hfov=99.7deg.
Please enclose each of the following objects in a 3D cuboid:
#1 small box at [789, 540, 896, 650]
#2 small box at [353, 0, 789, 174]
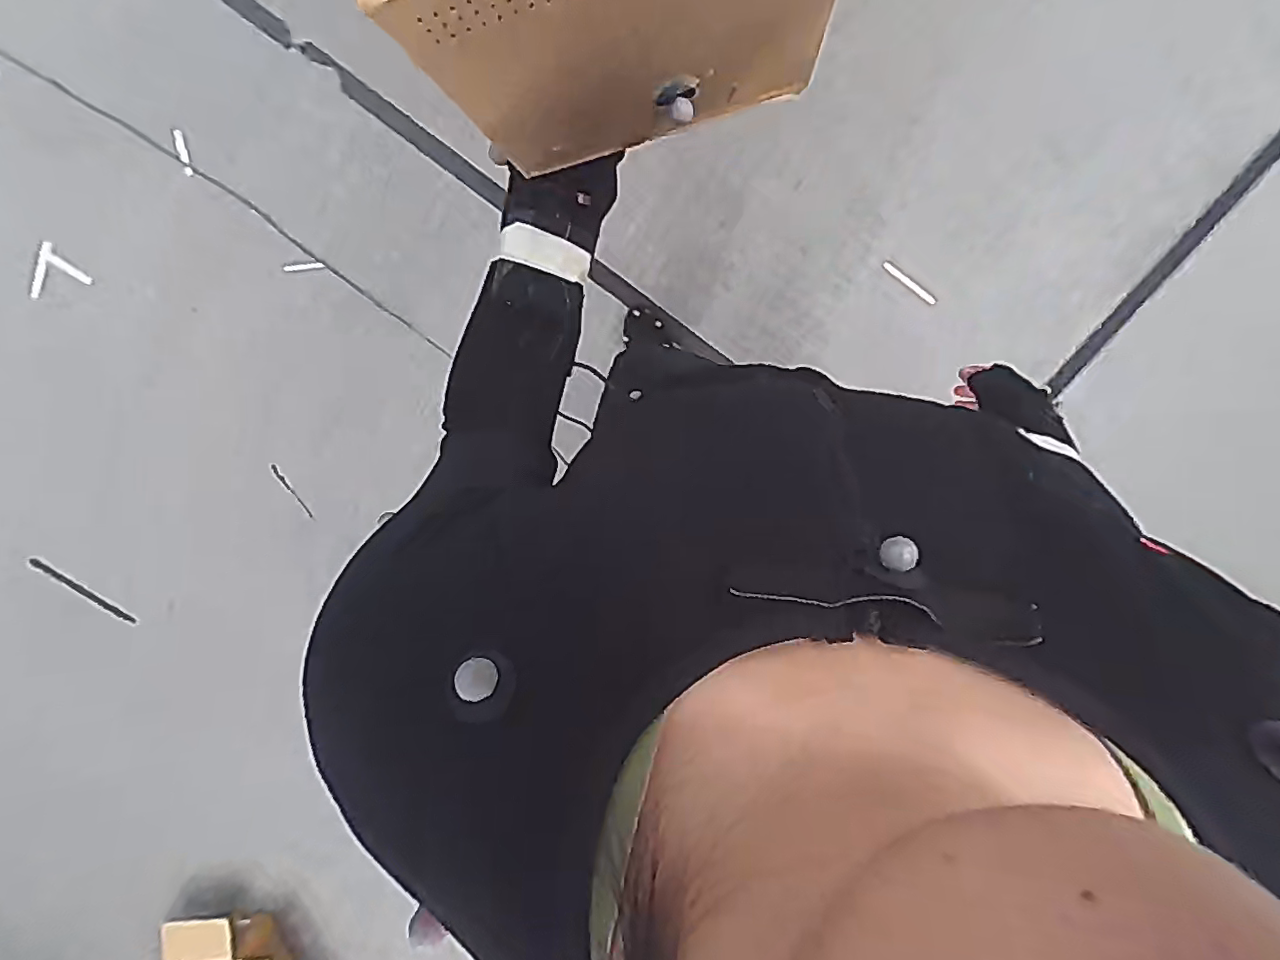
[{"bbox_3d":[0.470,0.261,1.281,0.168,0.176,0.179,-29,101,16],"label":"small box"},{"bbox_3d":[-0.030,-0.268,0.231,0.179,0.176,0.168,-12,99,11],"label":"small box"}]
